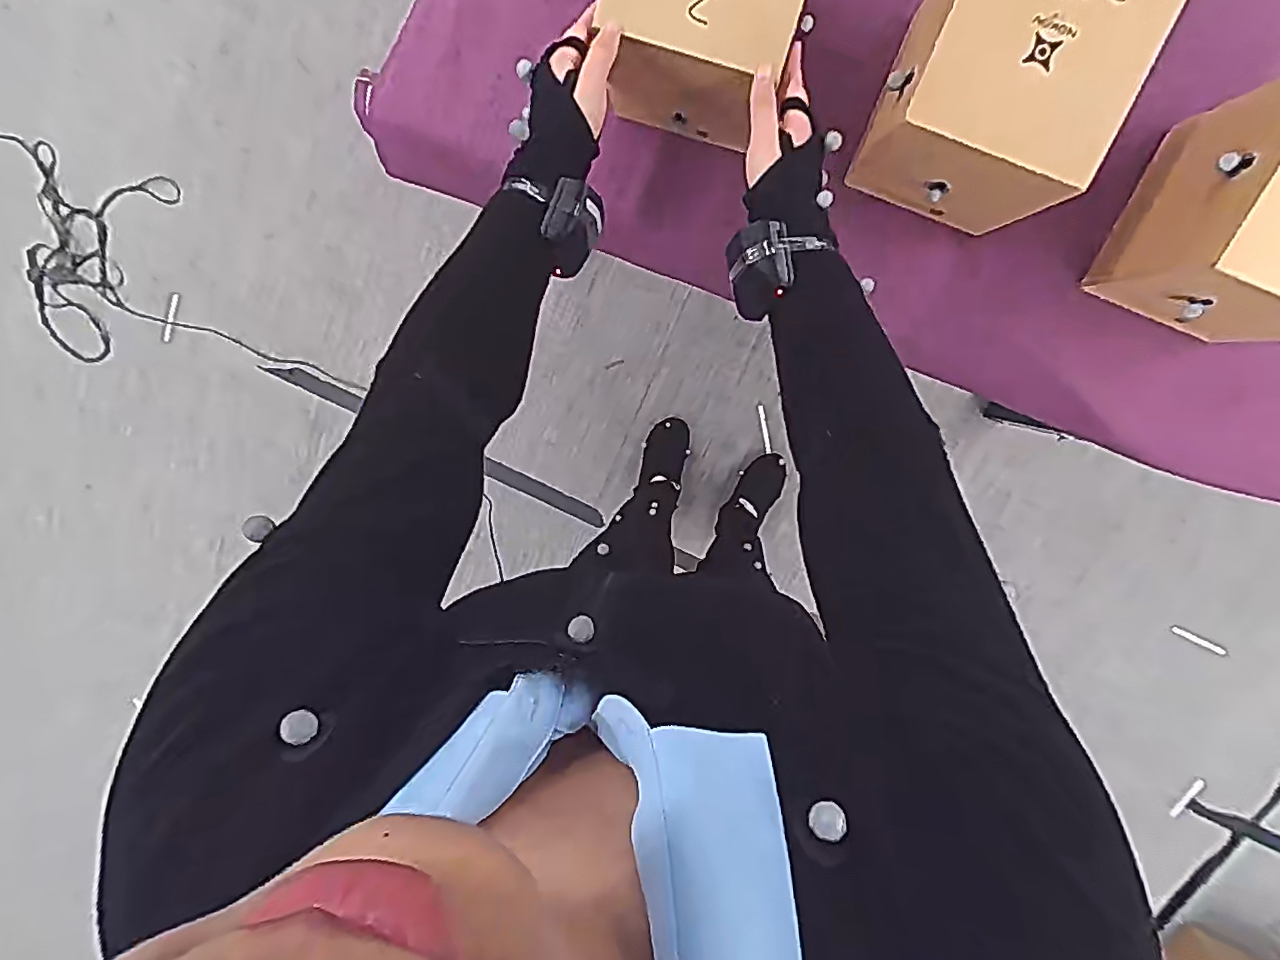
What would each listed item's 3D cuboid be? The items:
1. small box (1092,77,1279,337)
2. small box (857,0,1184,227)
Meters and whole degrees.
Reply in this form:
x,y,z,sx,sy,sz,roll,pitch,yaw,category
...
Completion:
x,y,z,sx,sy,sz,roll,pitch,yaw,category
0.595,-0.247,0.517,0.168,0.176,0.179,22,104,-1,small box
0.330,-0.367,0.510,0.168,0.176,0.179,21,102,-2,small box
